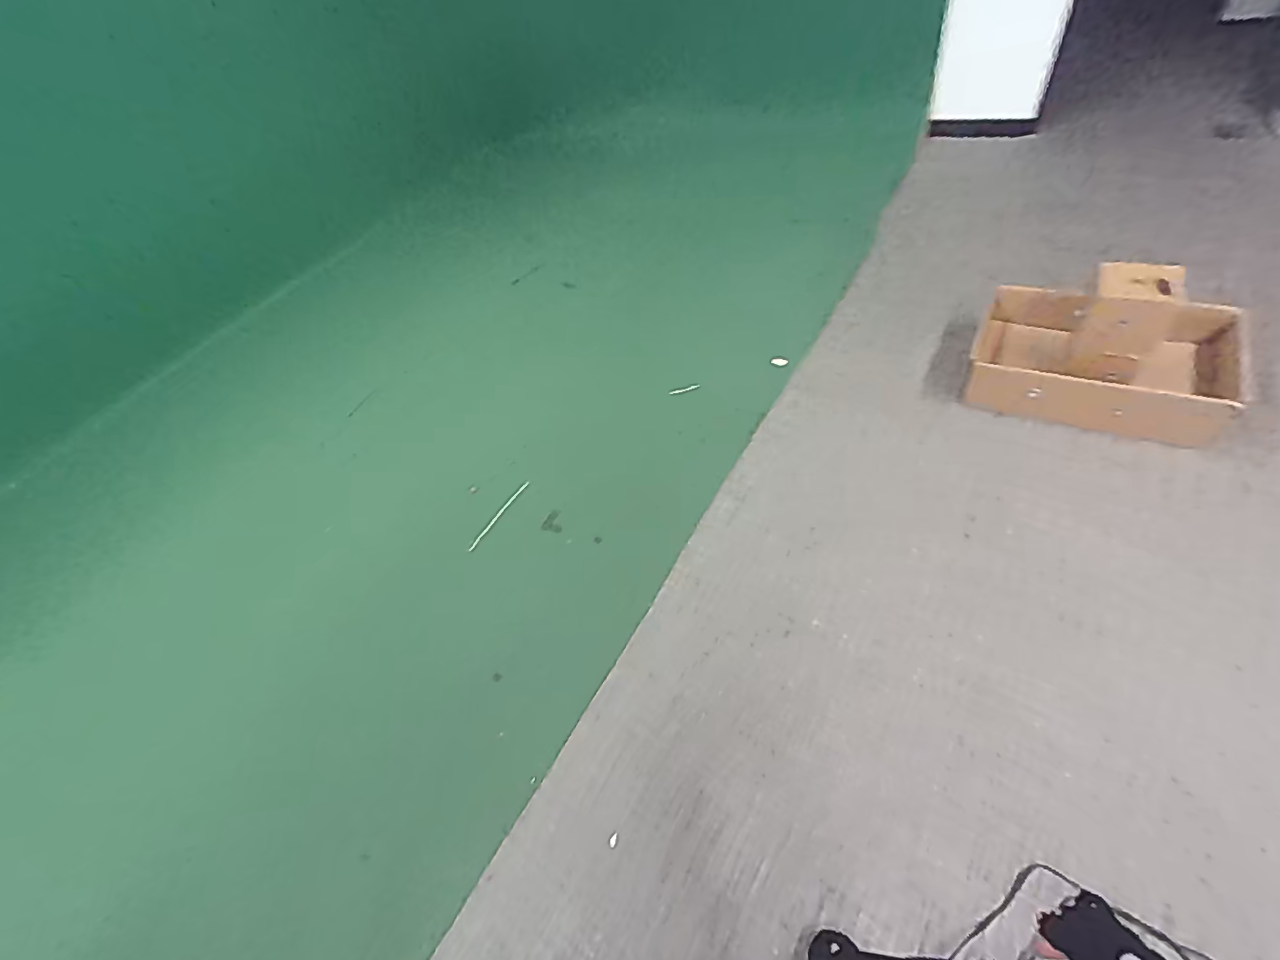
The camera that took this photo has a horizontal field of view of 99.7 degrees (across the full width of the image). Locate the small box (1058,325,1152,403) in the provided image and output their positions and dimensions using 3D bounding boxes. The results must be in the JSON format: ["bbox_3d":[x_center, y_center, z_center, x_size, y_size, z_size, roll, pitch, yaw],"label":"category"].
[{"bbox_3d":[1.362,-0.351,1.583,0.168,0.176,0.179,20,59,27],"label":"small box"}]

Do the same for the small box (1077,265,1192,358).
[{"bbox_3d":[1.328,-0.450,1.457,0.179,0.176,0.168,18,59,27],"label":"small box"}]
